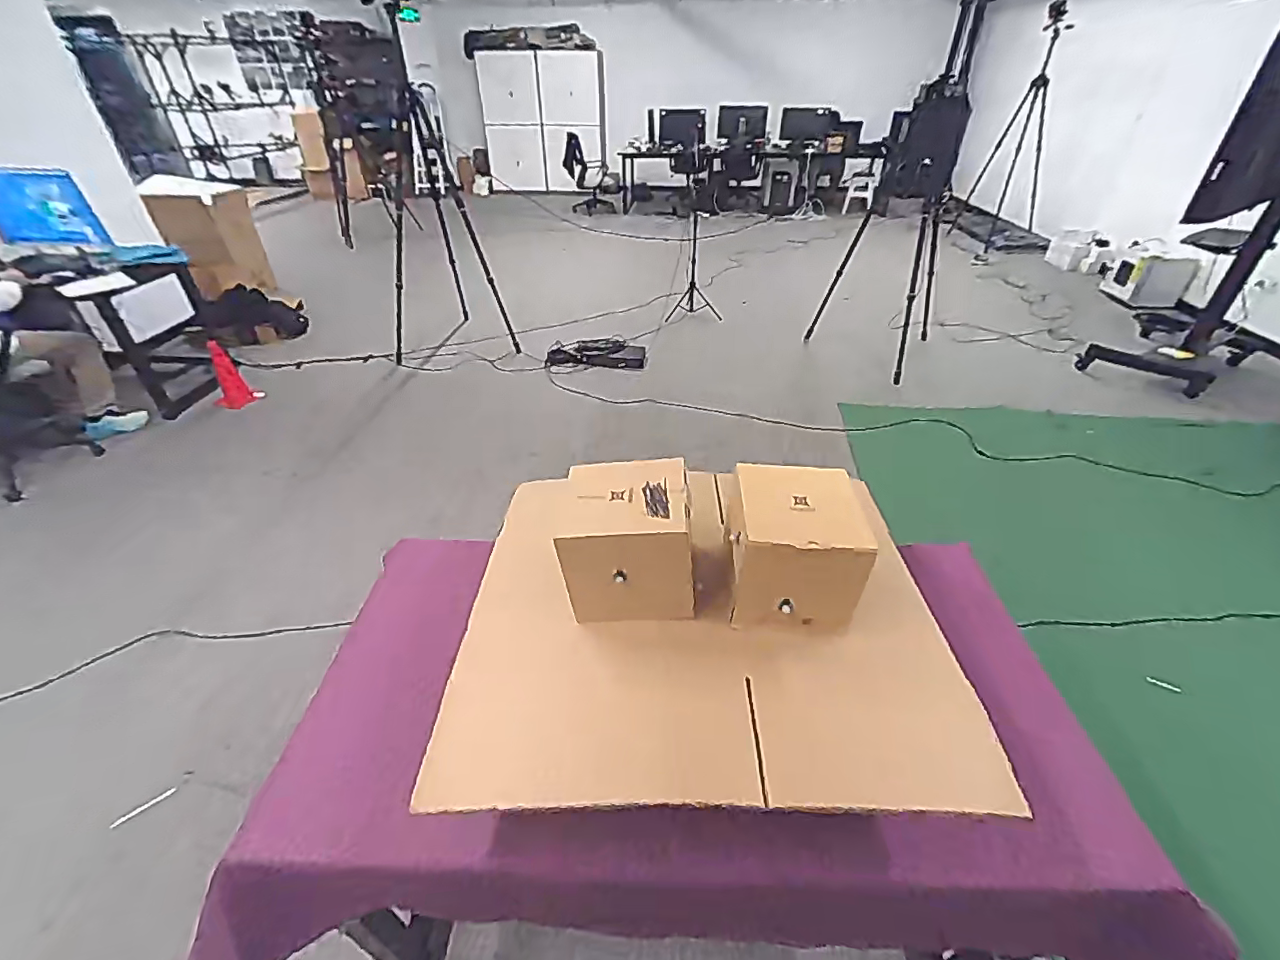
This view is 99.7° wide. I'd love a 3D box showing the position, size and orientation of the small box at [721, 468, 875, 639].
[{"bbox_3d":[0.214,0.104,0.789,0.168,0.176,0.179,3,37,1],"label":"small box"}]
